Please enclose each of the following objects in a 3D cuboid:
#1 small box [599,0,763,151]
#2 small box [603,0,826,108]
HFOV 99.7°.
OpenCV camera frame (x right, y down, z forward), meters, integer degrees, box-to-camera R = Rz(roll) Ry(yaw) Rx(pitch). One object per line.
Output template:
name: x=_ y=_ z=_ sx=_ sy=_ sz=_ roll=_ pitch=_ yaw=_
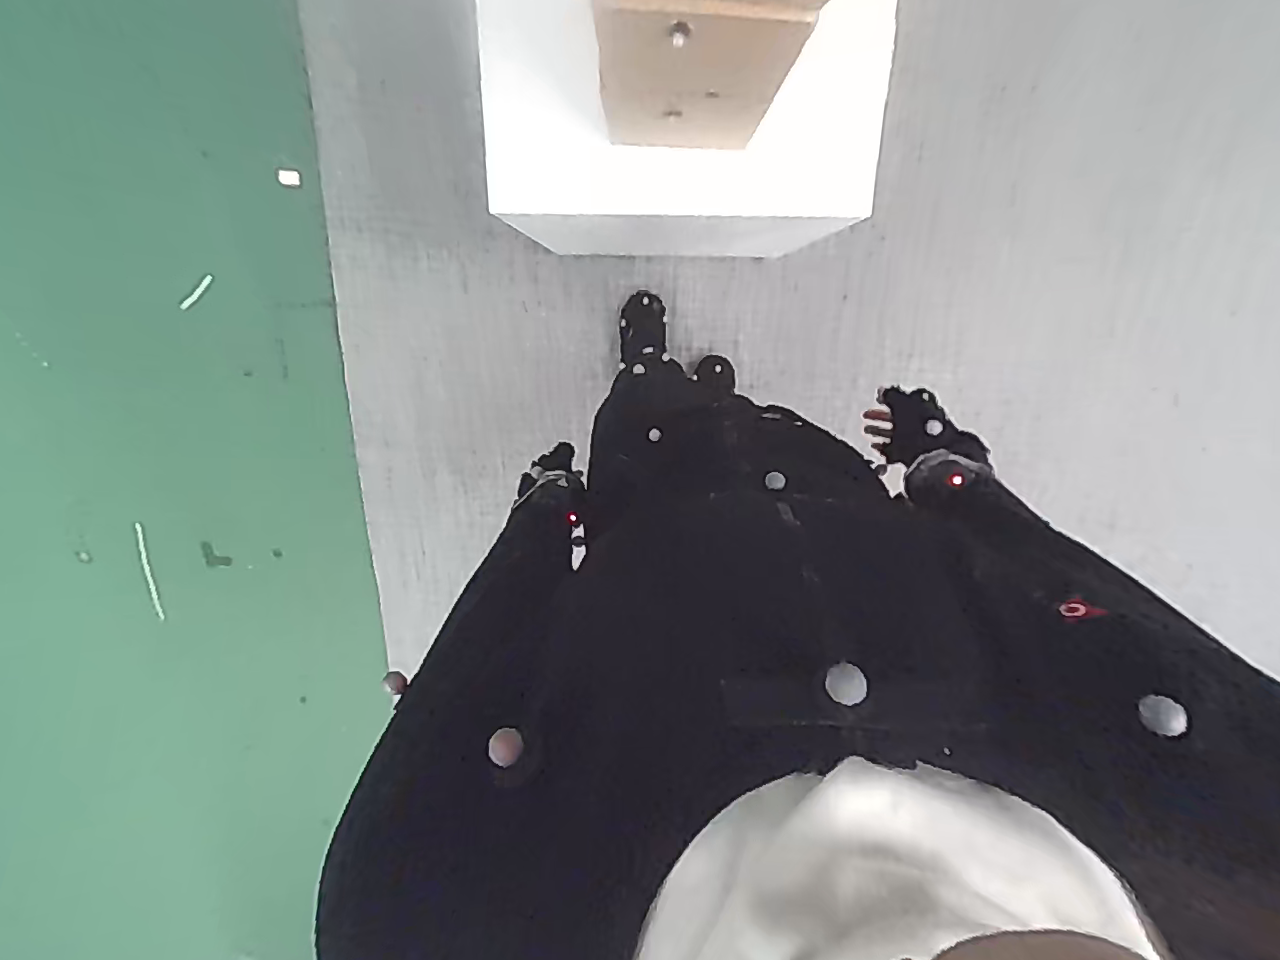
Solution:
small box: x=0.052 y=-0.485 z=0.601 sx=0.179 sy=0.176 sz=0.168 roll=3 pitch=107 yaw=0
small box: x=0.055 y=-0.442 z=0.446 sx=0.168 sy=0.176 sz=0.179 roll=1 pitch=107 yaw=0
